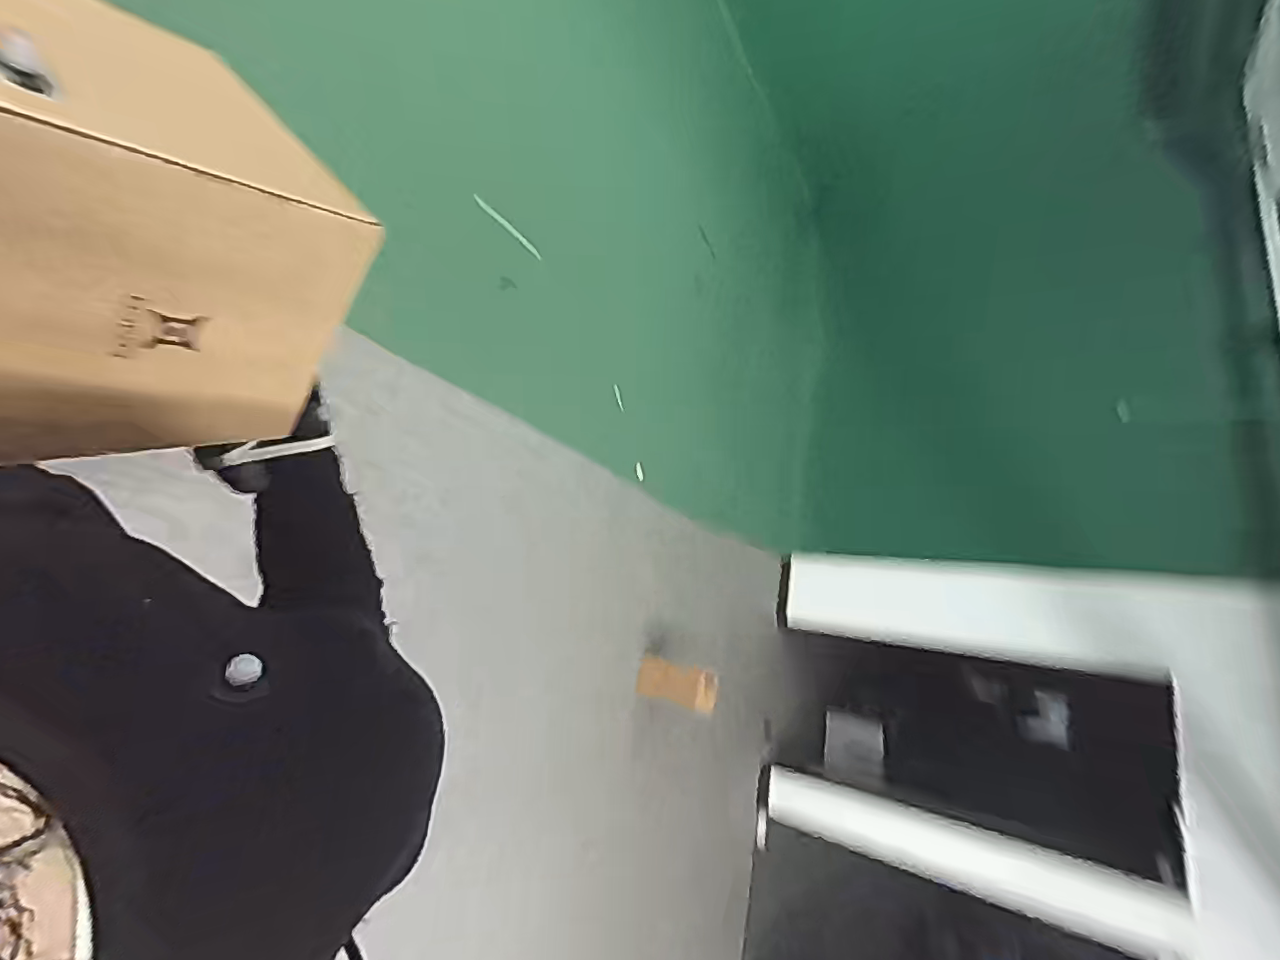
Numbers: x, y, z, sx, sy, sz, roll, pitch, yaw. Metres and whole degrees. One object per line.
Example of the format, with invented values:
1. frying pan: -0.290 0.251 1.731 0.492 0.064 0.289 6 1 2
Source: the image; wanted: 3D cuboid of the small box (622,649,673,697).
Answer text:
1. small box: 0.032 0.918 2.576 0.168 0.176 0.179 38 59 -48
